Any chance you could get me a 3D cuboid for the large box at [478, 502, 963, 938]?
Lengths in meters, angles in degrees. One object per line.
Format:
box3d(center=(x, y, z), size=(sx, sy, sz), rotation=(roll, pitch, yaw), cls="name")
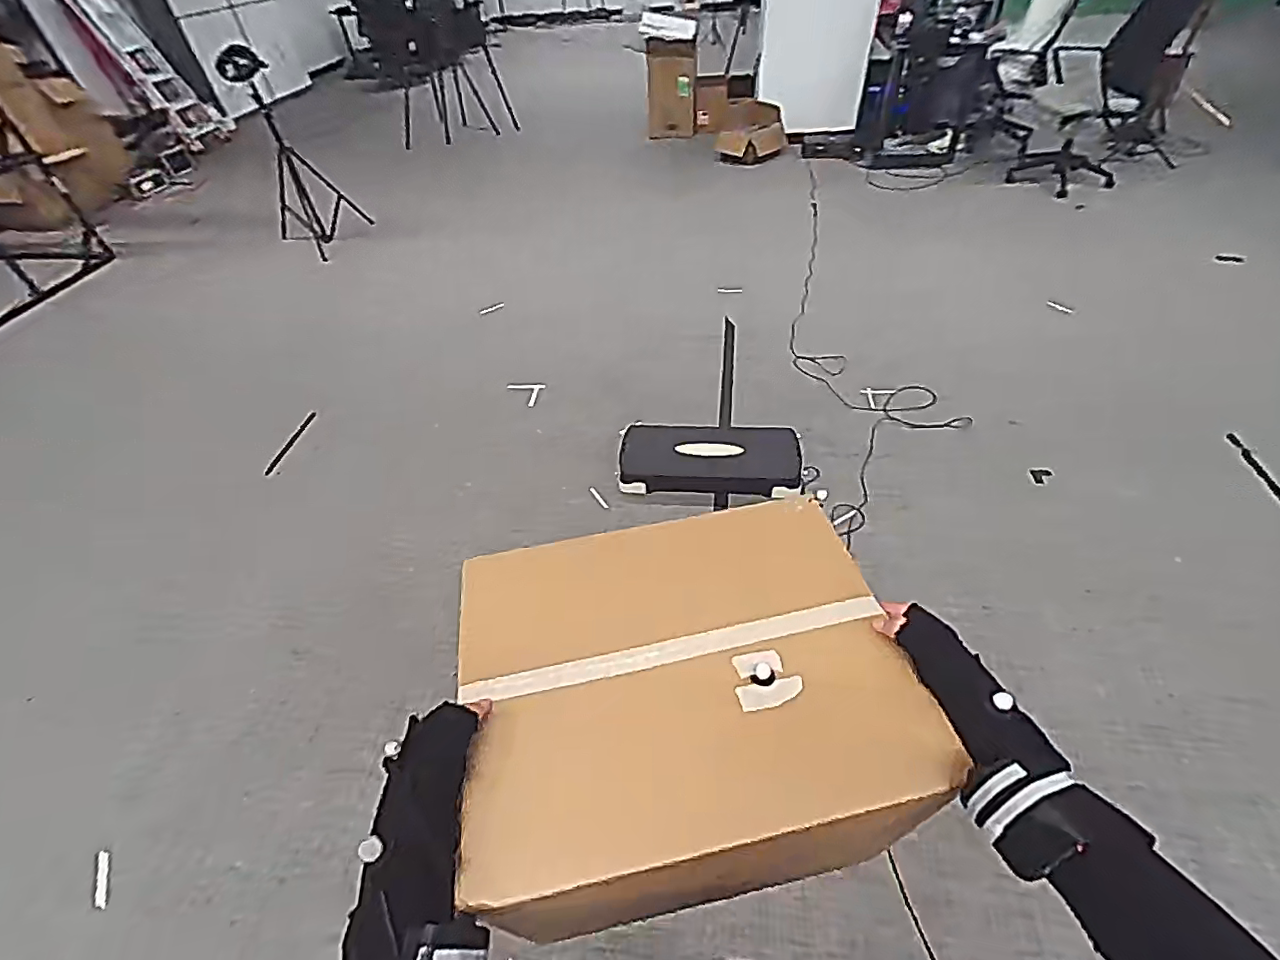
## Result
box3d(center=(0.050, 0.270, 0.627), size=(0.408, 0.320, 0.320), rotation=(-10, 46, -6), cls="large box")
